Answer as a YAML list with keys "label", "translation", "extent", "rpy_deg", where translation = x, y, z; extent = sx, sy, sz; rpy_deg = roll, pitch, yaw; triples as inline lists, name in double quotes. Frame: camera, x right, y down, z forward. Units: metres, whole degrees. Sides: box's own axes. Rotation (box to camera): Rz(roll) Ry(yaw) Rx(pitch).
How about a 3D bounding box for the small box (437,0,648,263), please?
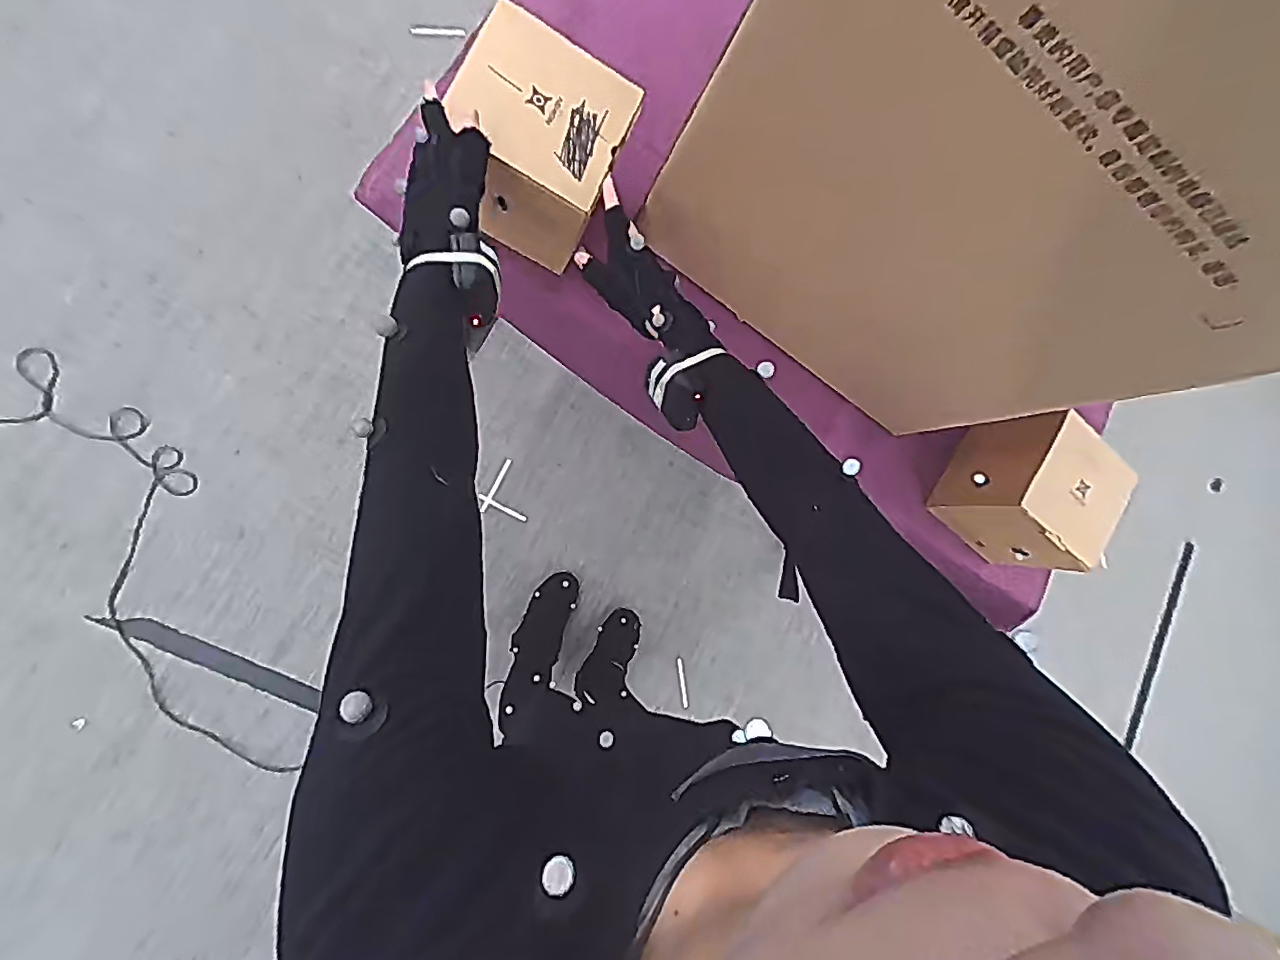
- label: "small box"
  translation: [-0.120, -0.389, 0.644]
  extent: [0.179, 0.176, 0.168]
  rpy_deg: [25, 79, -15]

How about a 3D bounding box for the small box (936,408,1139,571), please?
- label: "small box"
  translation: [0.600, 0.018, 0.836]
  extent: [0.168, 0.176, 0.179]
  rpy_deg: [37, 77, -12]
